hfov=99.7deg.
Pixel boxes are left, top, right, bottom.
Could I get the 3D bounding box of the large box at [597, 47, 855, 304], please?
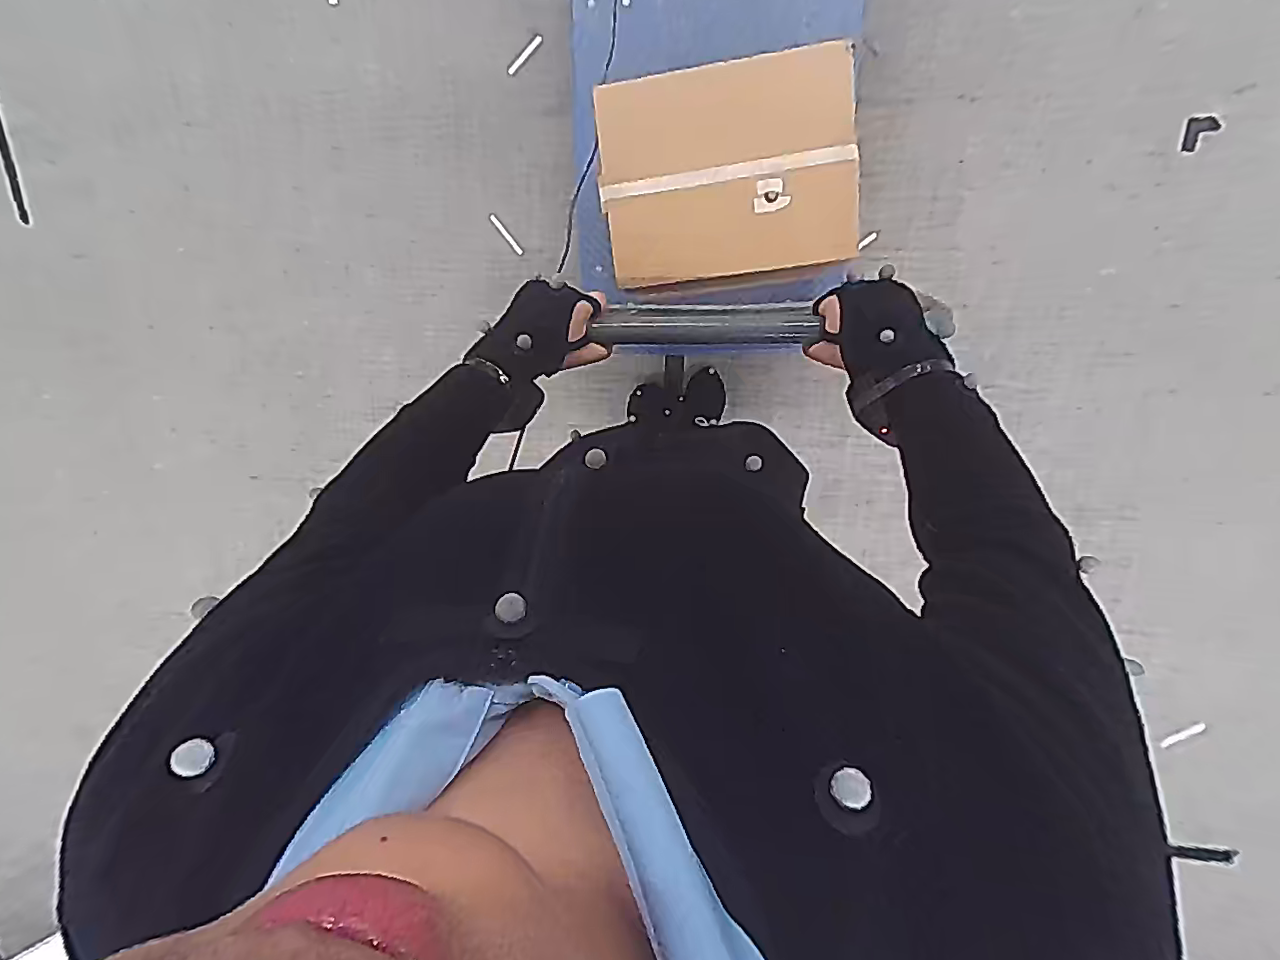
[{"bbox_3d":[0.156,-0.534,1.034,0.408,0.320,0.320,-6,104,6],"label":"large box"}]
